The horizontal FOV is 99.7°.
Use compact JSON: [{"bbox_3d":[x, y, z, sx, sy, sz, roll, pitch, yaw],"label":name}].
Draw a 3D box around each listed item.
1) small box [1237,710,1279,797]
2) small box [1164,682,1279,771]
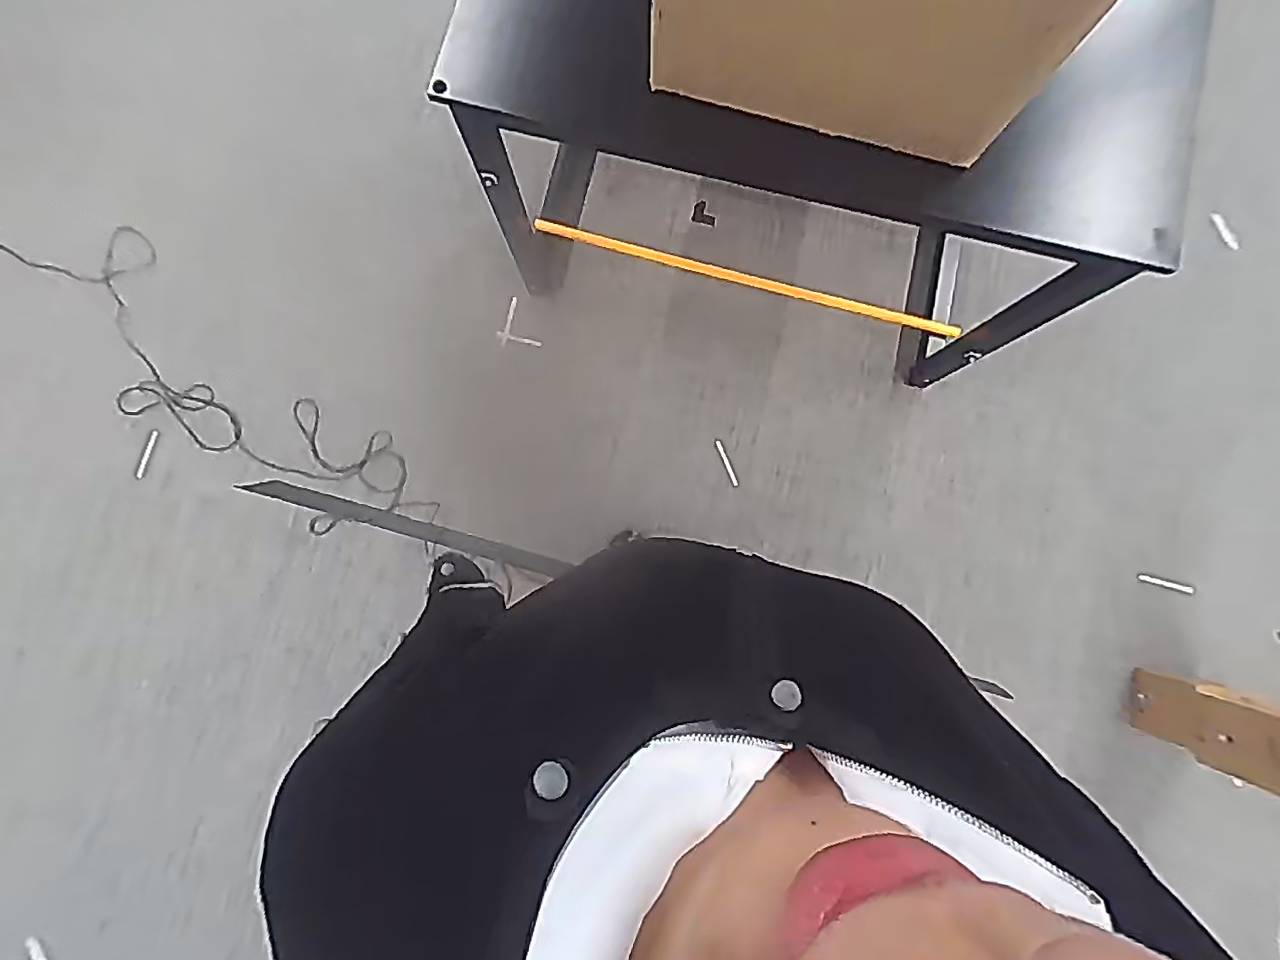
[{"bbox_3d":[1.454,0.610,1.163,0.179,0.176,0.168,7,84,1],"label":"small box"},{"bbox_3d":[1.458,0.609,1.328,0.179,0.176,0.168,8,83,1],"label":"small box"}]
